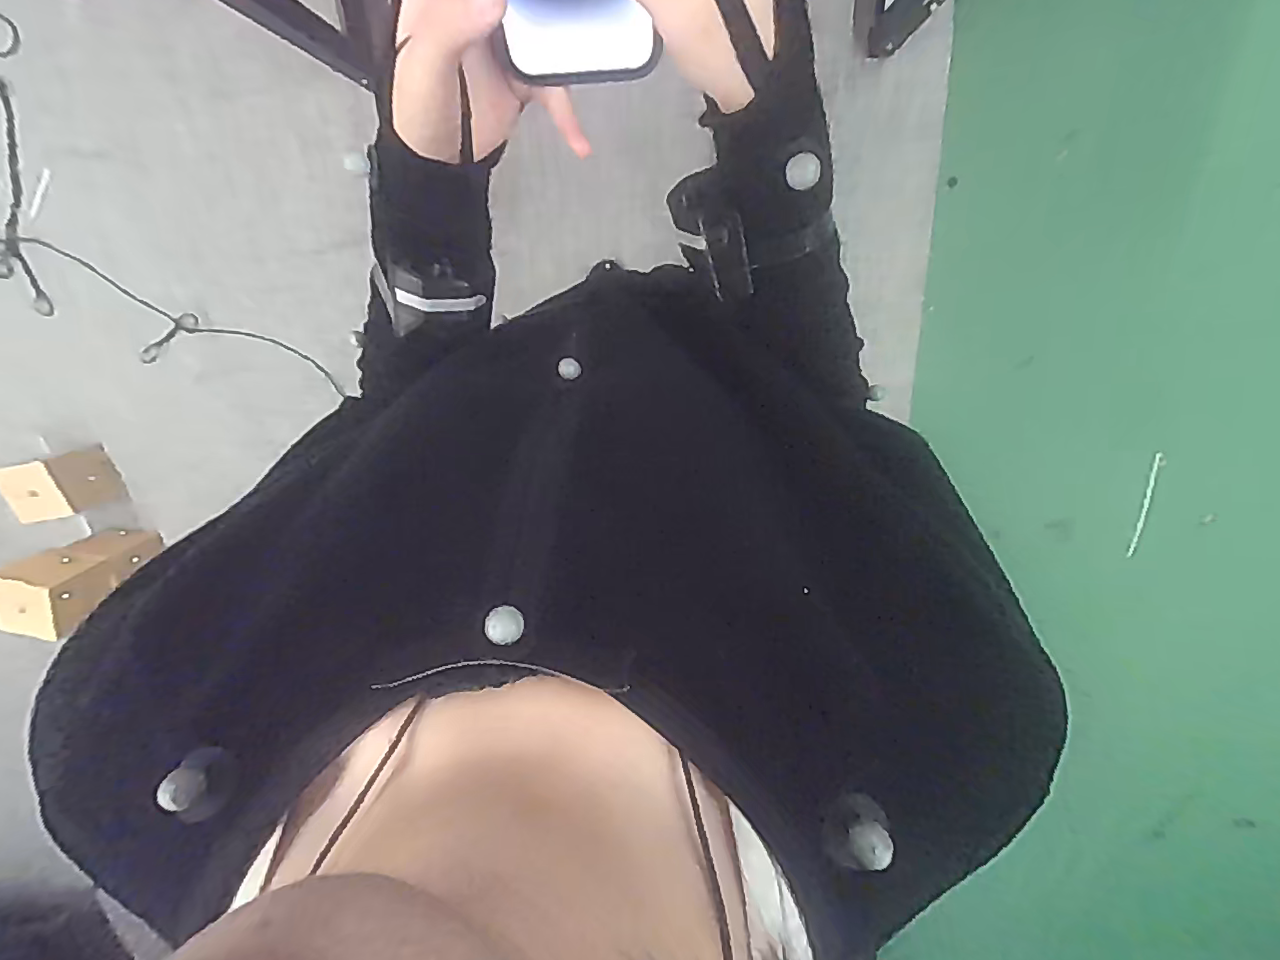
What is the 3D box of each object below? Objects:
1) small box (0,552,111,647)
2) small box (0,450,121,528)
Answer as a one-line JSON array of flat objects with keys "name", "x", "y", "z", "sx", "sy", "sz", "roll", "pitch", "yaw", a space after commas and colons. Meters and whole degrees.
[{"name": "small box", "x": -1.630, "y": 0.326, "z": 1.502, "sx": 0.168, "sy": 0.176, "sz": 0.179, "roll": 13, "pitch": 109, "yaw": -1}, {"name": "small box", "x": -1.669, "y": 0.021, "z": 1.562, "sx": 0.179, "sy": 0.176, "sz": 0.168, "roll": -9, "pitch": 109, "yaw": 7}]
